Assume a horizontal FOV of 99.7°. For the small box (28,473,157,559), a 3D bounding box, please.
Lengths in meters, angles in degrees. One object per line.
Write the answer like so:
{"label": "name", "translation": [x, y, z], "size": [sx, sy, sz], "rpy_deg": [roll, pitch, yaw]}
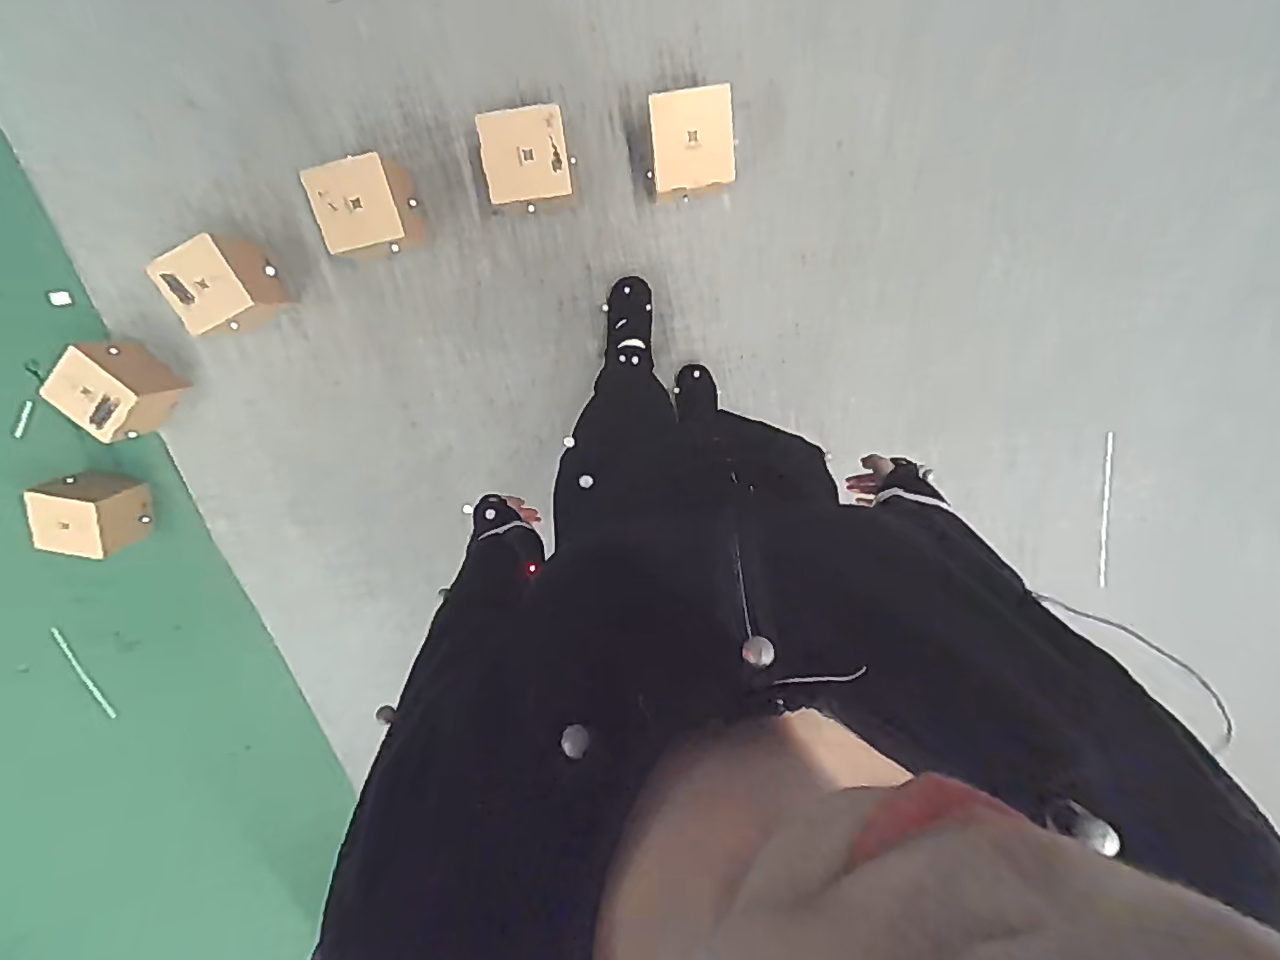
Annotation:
{"label": "small box", "translation": [-1.466, 0.090, 1.459], "size": [0.179, 0.176, 0.168], "rpy_deg": [11, 109, -3]}

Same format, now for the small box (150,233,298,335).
{"label": "small box", "translation": [-0.960, -0.452, 1.265], "size": [0.179, 0.176, 0.168], "rpy_deg": [-23, 108, 7]}

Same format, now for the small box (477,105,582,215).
{"label": "small box", "translation": [-0.231, -0.688, 1.181], "size": [0.179, 0.176, 0.168], "rpy_deg": [-6, 109, 3]}

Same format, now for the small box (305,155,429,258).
{"label": "small box", "translation": [-0.595, -0.603, 1.211], "size": [0.179, 0.176, 0.168], "rpy_deg": [-11, 108, 4]}

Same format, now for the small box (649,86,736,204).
{"label": "small box", "translation": [0.109, -0.715, 1.172], "size": [0.168, 0.176, 0.179], "rpy_deg": [-7, 110, 2]}
